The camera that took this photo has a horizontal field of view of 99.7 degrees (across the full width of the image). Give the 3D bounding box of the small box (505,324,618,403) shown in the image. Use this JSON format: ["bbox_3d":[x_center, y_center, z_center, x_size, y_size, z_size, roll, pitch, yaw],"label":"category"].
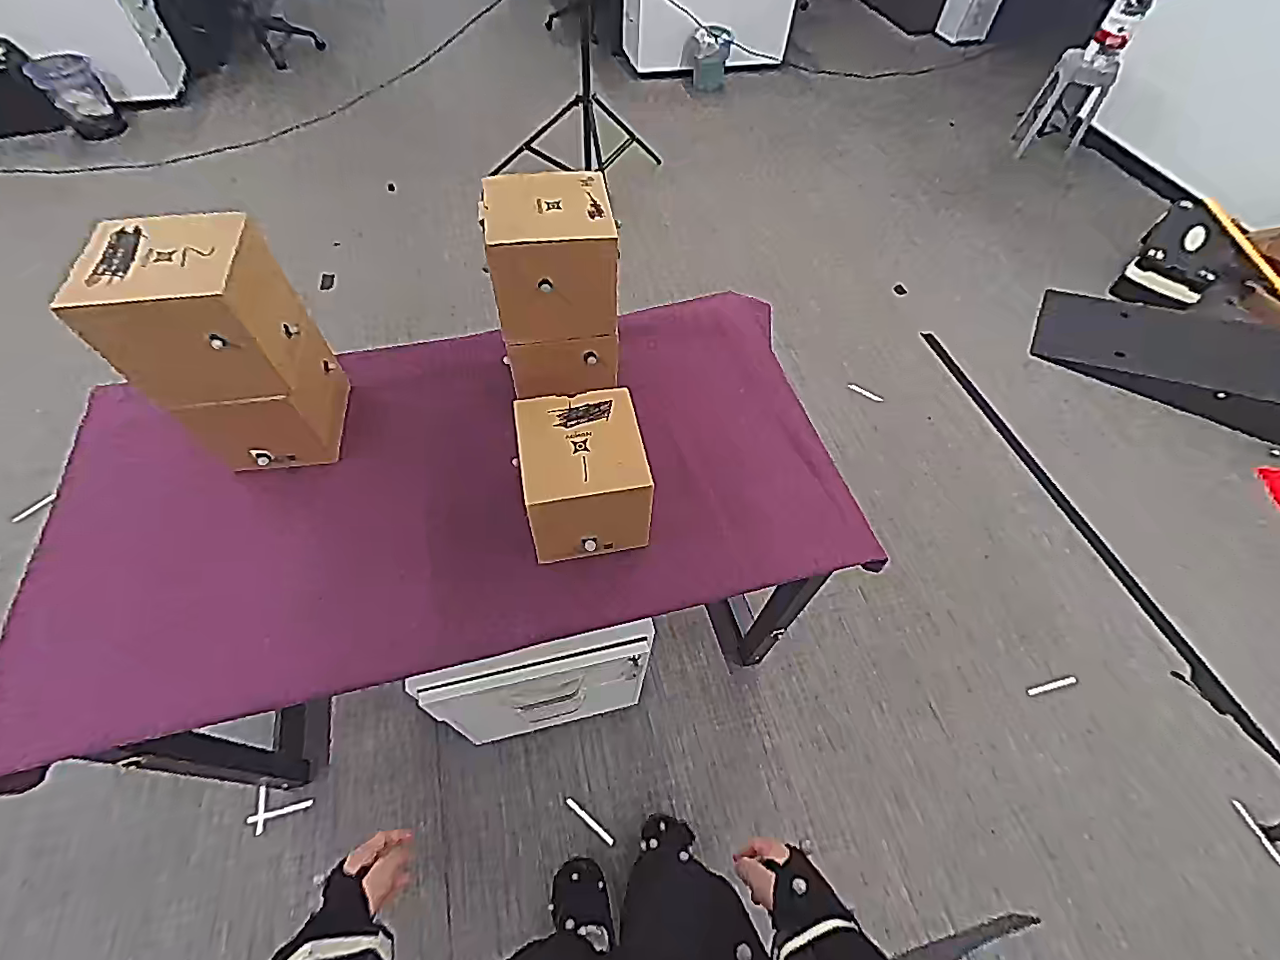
[{"bbox_3d":[-0.138,-0.236,0.942,0.179,0.176,0.168,-9,58,-8],"label":"small box"}]

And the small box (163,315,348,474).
[{"bbox_3d":[-0.581,-0.131,0.849,0.168,0.176,0.179,-7,59,-6],"label":"small box"}]

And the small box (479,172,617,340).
[{"bbox_3d":[-0.132,-0.327,0.806,0.179,0.176,0.168,-8,58,-7],"label":"small box"}]

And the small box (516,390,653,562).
[{"bbox_3d":[-0.082,-0.003,0.789,0.168,0.176,0.179,-9,56,-8],"label":"small box"}]
